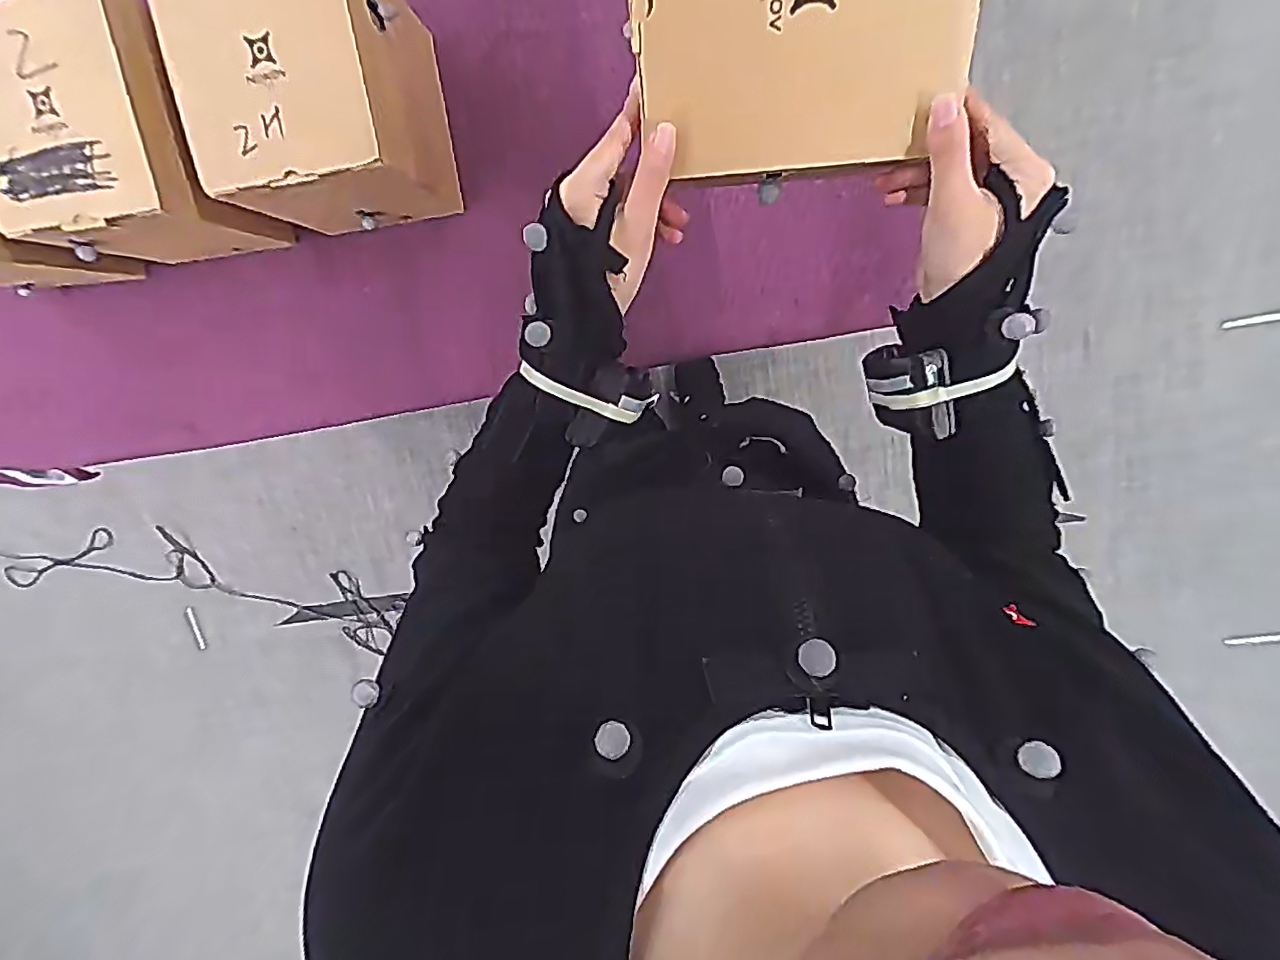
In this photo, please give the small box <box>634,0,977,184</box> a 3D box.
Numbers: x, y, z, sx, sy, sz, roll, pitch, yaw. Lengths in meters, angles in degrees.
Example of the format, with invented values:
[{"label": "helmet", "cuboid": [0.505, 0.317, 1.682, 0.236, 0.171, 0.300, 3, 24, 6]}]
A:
[{"label": "small box", "cuboid": [0.087, -0.287, 0.341, 0.179, 0.176, 0.168, -2, 116, 5]}]
